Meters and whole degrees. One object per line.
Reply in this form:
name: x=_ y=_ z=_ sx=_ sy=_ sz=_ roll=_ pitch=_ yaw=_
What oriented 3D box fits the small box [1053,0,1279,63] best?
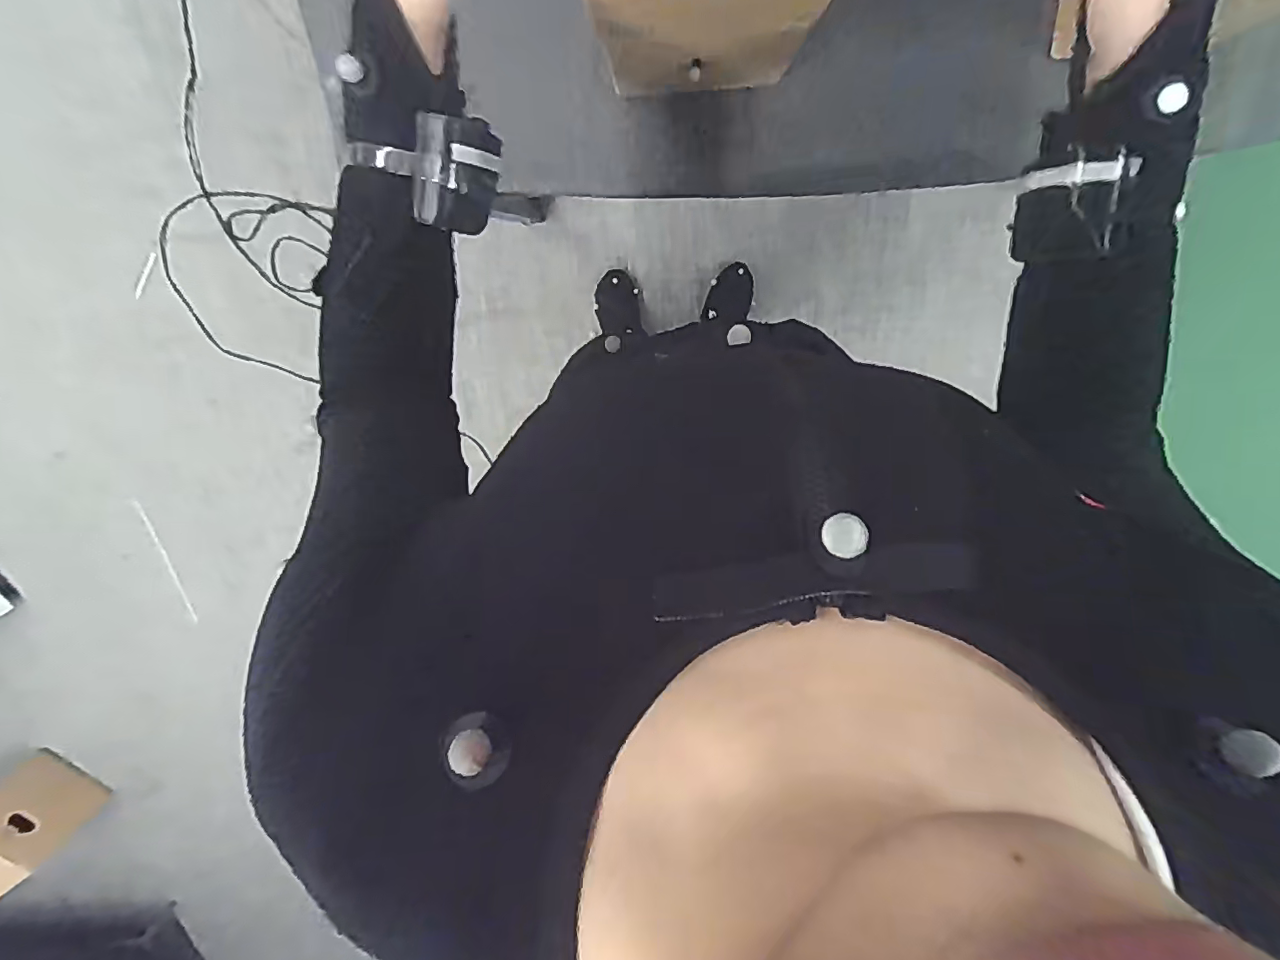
small box: x=0.493 y=-0.480 z=0.452 sx=0.168 sy=0.176 sz=0.179 roll=-3 pitch=111 yaw=4
